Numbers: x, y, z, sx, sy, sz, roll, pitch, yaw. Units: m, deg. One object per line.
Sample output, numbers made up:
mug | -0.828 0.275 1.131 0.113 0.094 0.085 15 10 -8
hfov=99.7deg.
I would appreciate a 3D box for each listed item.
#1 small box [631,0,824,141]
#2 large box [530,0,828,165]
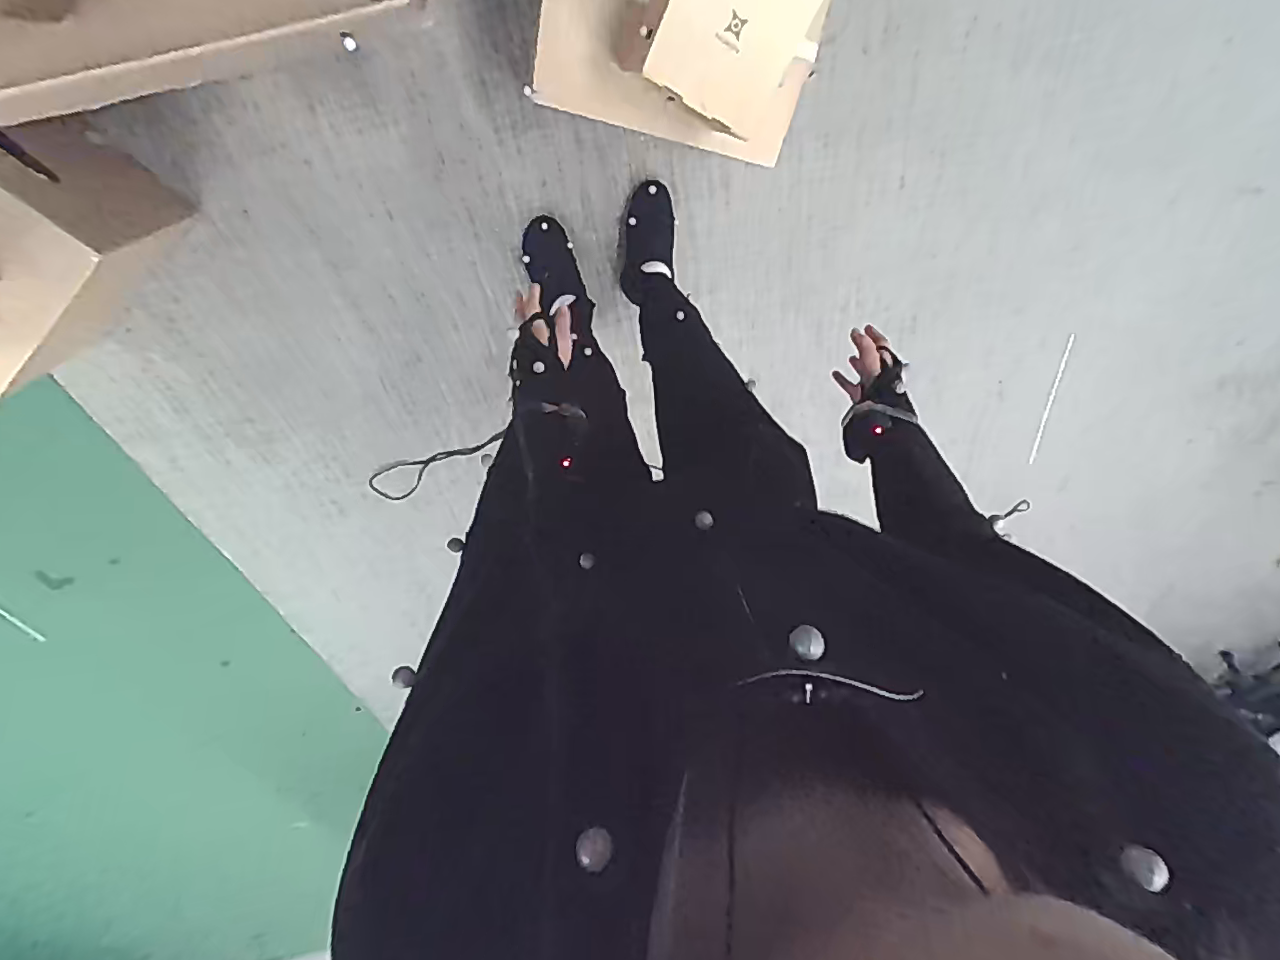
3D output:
small box | 0.100 -0.580 0.697 0.168 0.176 0.179 17 123 -23
large box | 0.045 -0.742 0.873 0.408 0.320 0.320 6 124 -14
